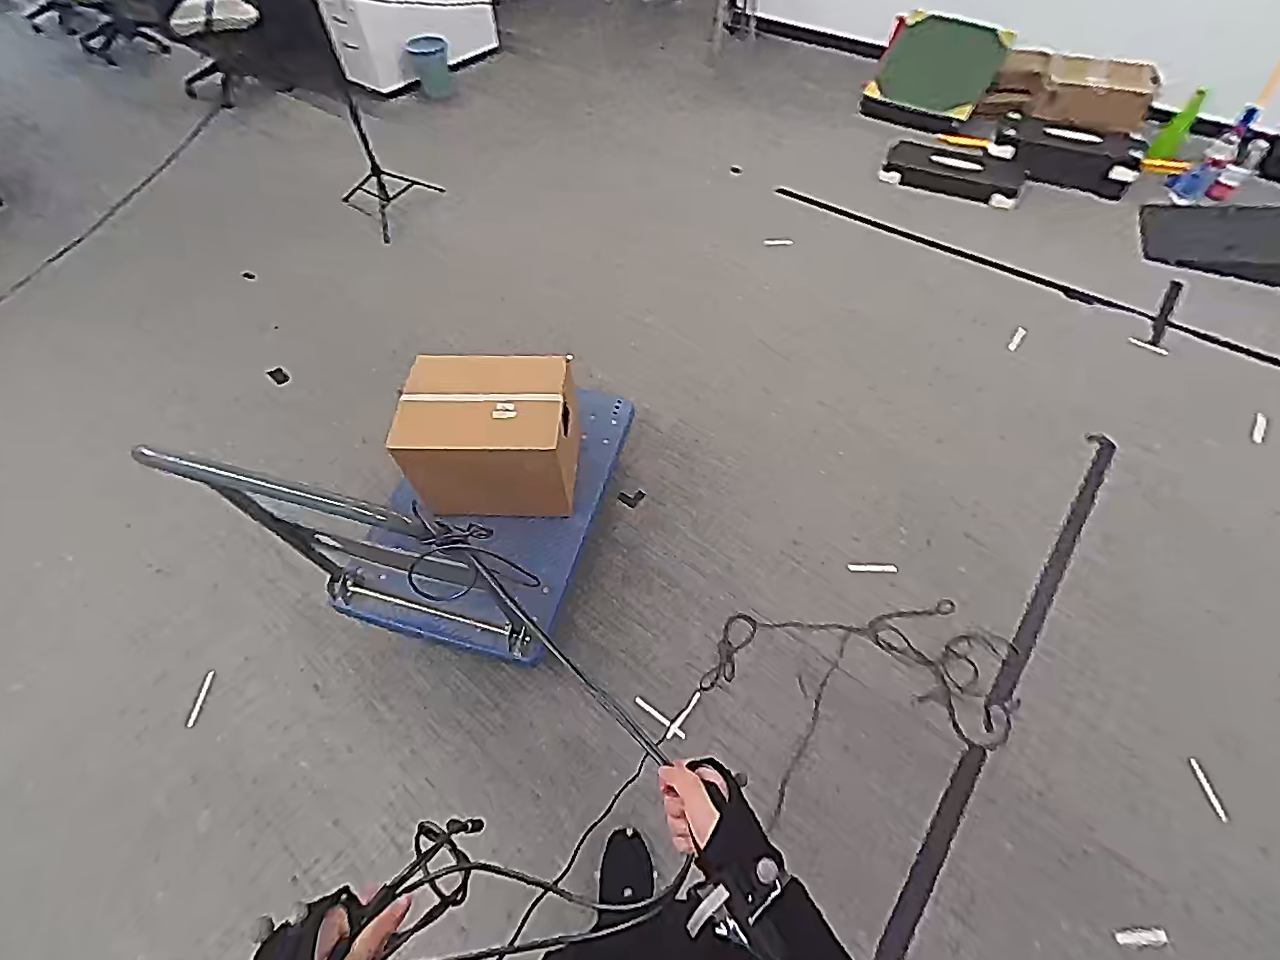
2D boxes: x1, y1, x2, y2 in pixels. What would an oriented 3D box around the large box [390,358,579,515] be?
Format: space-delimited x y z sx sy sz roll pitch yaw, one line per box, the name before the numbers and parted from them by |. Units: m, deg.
large box | -0.386 -0.111 1.456 0.408 0.320 0.320 1 57 0
